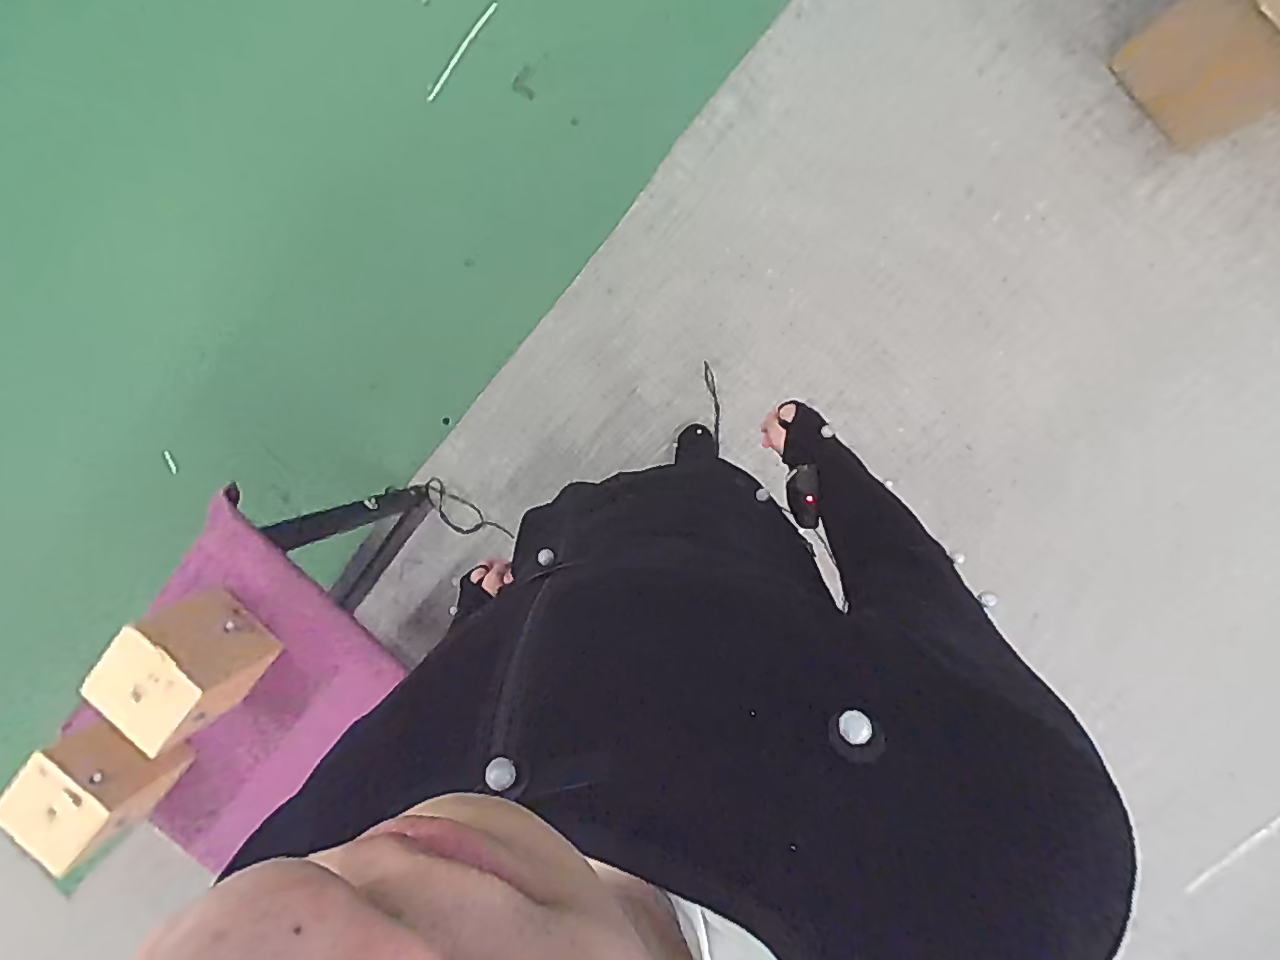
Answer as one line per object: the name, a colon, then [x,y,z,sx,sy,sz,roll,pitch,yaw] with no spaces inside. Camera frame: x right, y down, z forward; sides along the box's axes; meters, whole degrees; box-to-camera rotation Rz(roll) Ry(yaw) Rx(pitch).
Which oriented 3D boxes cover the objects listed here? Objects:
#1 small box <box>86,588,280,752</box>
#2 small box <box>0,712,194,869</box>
small box: [-0.790,0.324,0.953,0.168,0.176,0.179,43,102,-1]
small box: [-1.002,0.559,1.013,0.168,0.176,0.179,41,99,-2]
